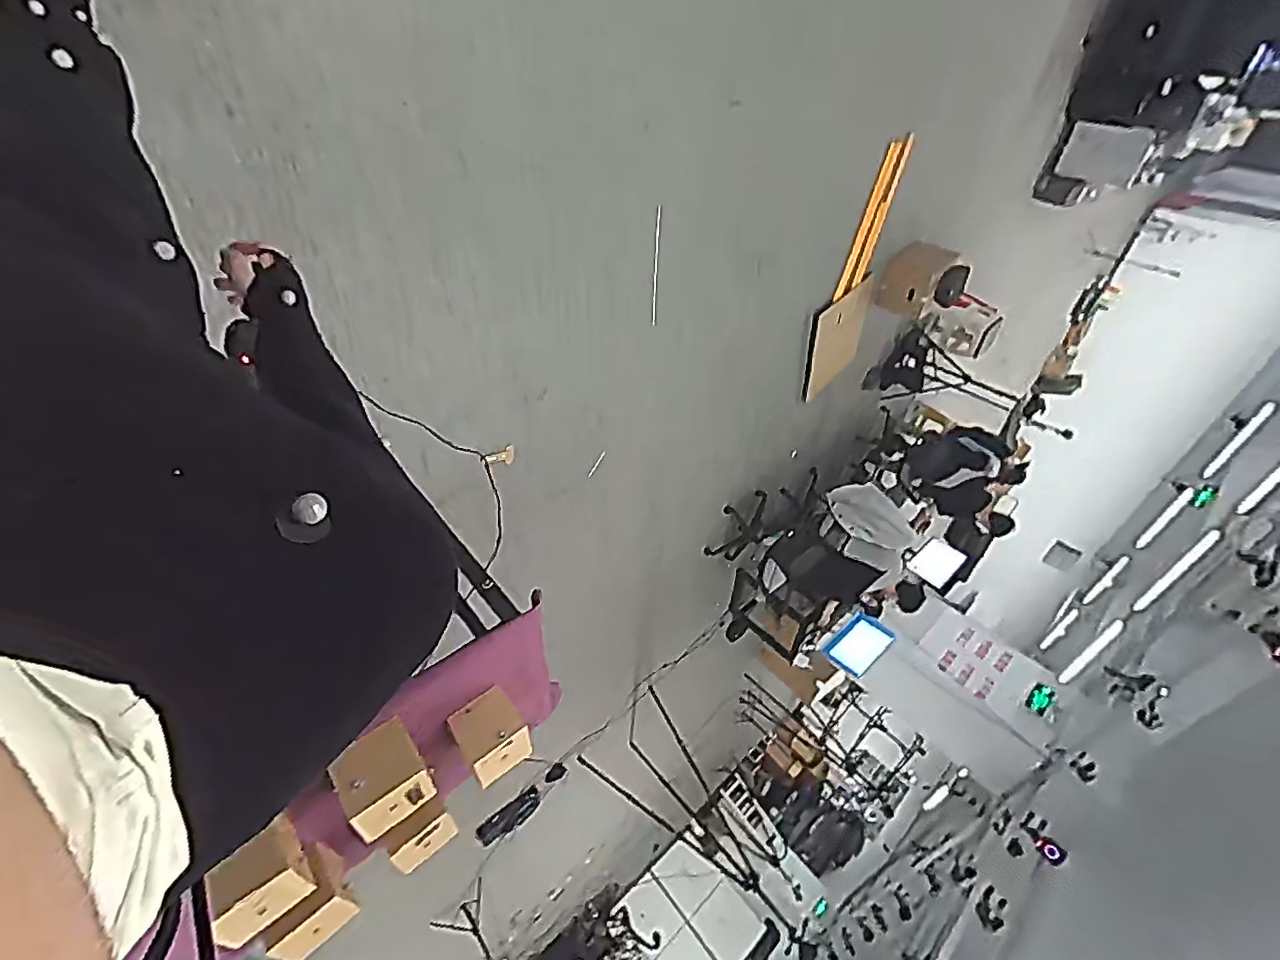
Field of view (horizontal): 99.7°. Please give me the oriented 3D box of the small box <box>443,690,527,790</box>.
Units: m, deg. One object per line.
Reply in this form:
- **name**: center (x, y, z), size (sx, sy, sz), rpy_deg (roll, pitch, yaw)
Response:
- **small box**: center (-0.449, 0.750, 1.575), size (0.168, 0.176, 0.179), rpy_deg (-30, 141, -33)

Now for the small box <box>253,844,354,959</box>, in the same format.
- **small box**: center (-0.865, 1.077, 1.377), size (0.168, 0.176, 0.179), rpy_deg (-31, 140, -31)

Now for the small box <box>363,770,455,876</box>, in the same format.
- **small box**: center (-0.653, 0.960, 1.525), size (0.168, 0.176, 0.179), rpy_deg (-30, 141, -31)

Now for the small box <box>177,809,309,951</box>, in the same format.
- **small box**: center (-0.861, 0.864, 1.178), size (0.168, 0.176, 0.179), rpy_deg (-29, 141, -33)
